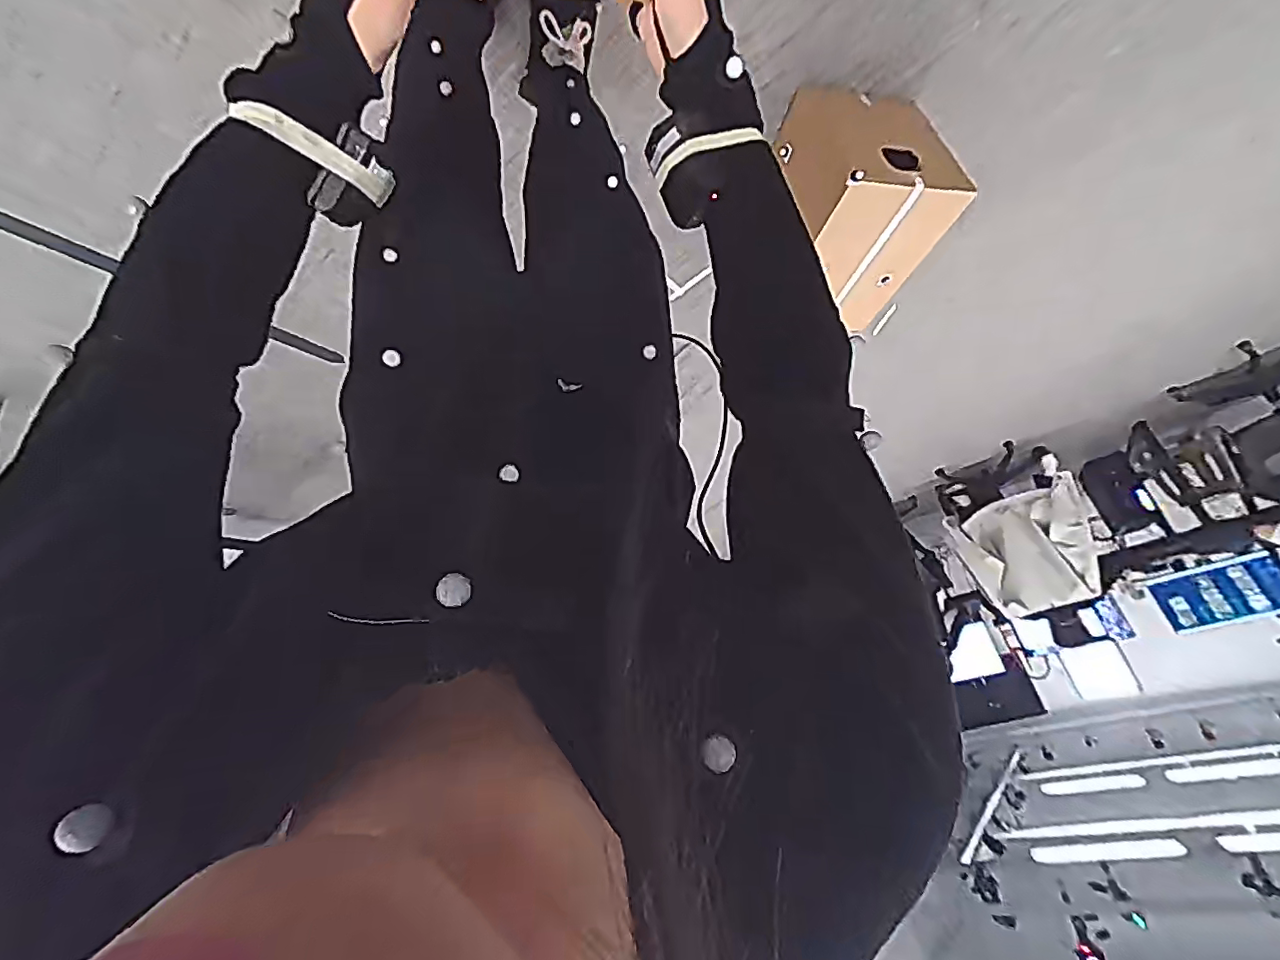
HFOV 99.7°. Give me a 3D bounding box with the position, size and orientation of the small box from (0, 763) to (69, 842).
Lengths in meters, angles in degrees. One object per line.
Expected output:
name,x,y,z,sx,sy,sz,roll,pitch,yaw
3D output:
small box,-1.698,0.880,1.467,0.179,0.176,0.168,-30,151,30
